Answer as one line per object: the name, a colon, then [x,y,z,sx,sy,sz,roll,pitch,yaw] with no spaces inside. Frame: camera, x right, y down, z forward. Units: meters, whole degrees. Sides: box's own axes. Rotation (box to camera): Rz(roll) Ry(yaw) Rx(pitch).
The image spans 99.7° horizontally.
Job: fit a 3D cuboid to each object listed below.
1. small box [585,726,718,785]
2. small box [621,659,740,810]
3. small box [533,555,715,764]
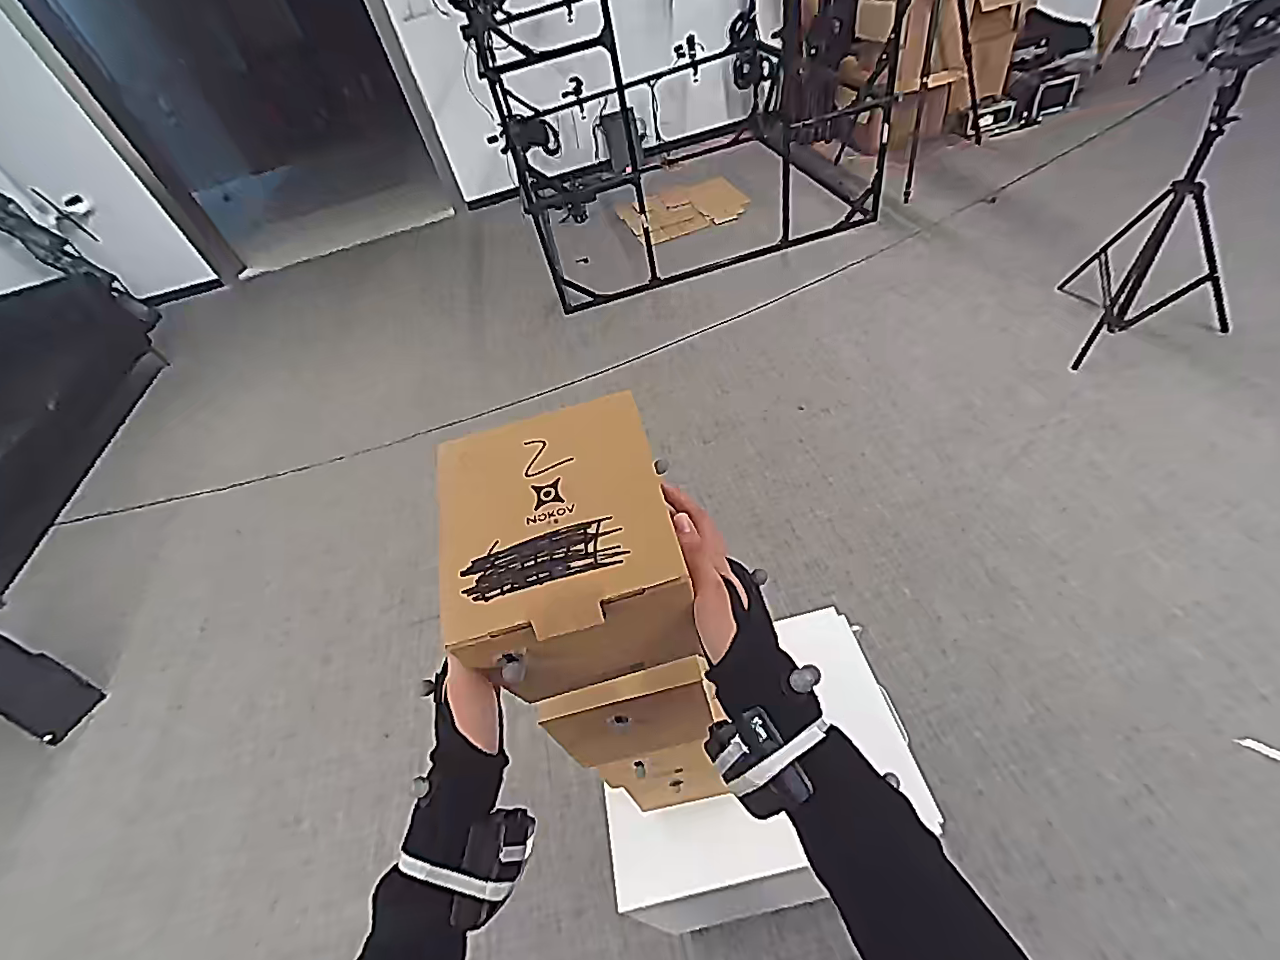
small box: [0.012,0.322,0.783,0.168,0.176,0.179,-12,45,3]
small box: [0.060,0.427,0.899,0.179,0.176,0.168,-13,46,2]
small box: [-0.018,0.221,0.656,0.179,0.176,0.168,-14,46,1]
